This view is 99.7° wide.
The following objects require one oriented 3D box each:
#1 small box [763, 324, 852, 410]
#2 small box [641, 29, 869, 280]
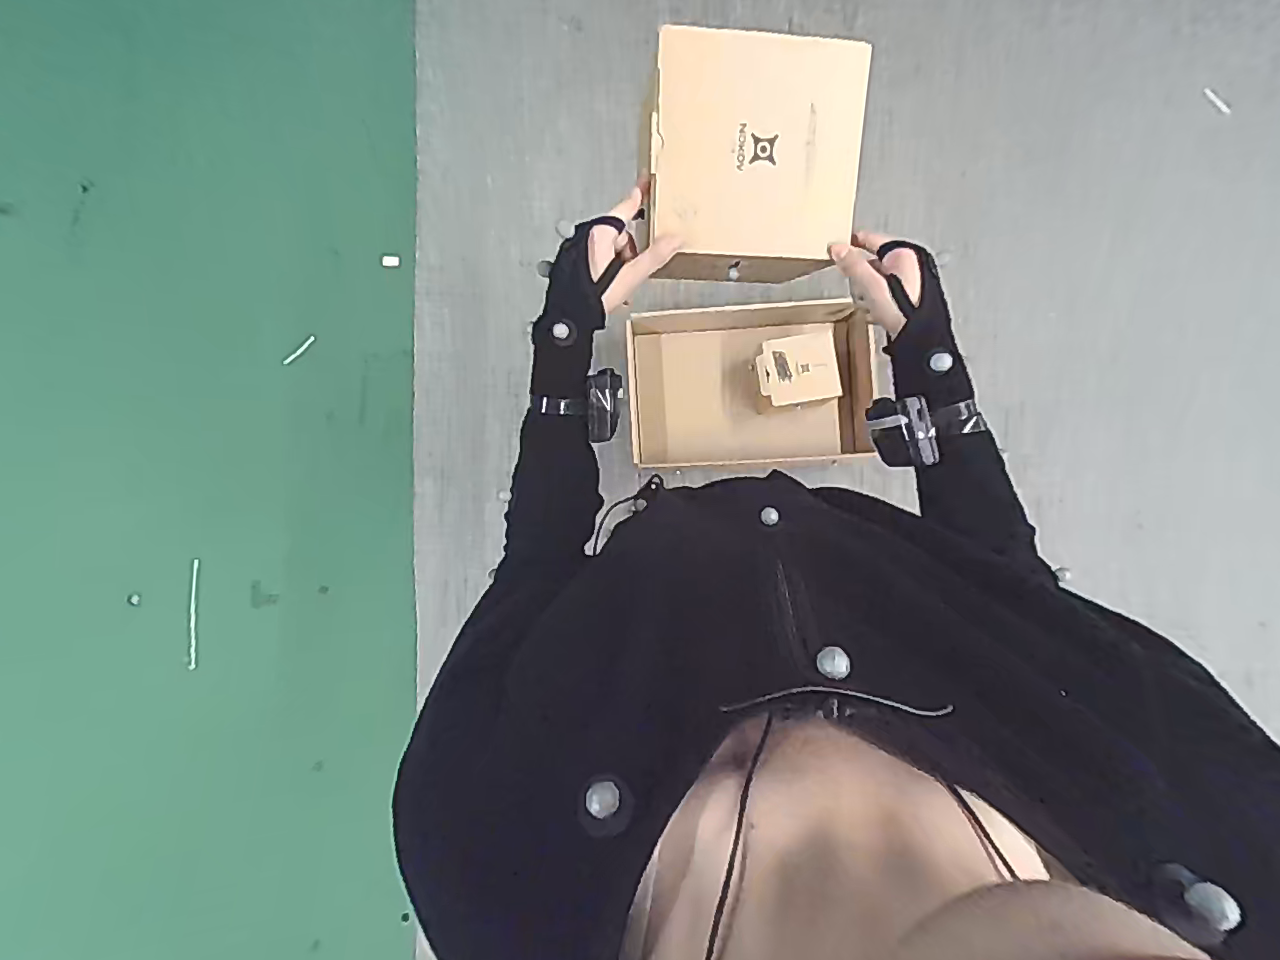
[{"bbox_3d":[0.420,-0.282,1.390,0.179,0.176,0.168,-9,89,3],"label":"small box"},{"bbox_3d":[0.092,-0.291,0.523,0.179,0.176,0.168,0,104,-3],"label":"small box"}]
